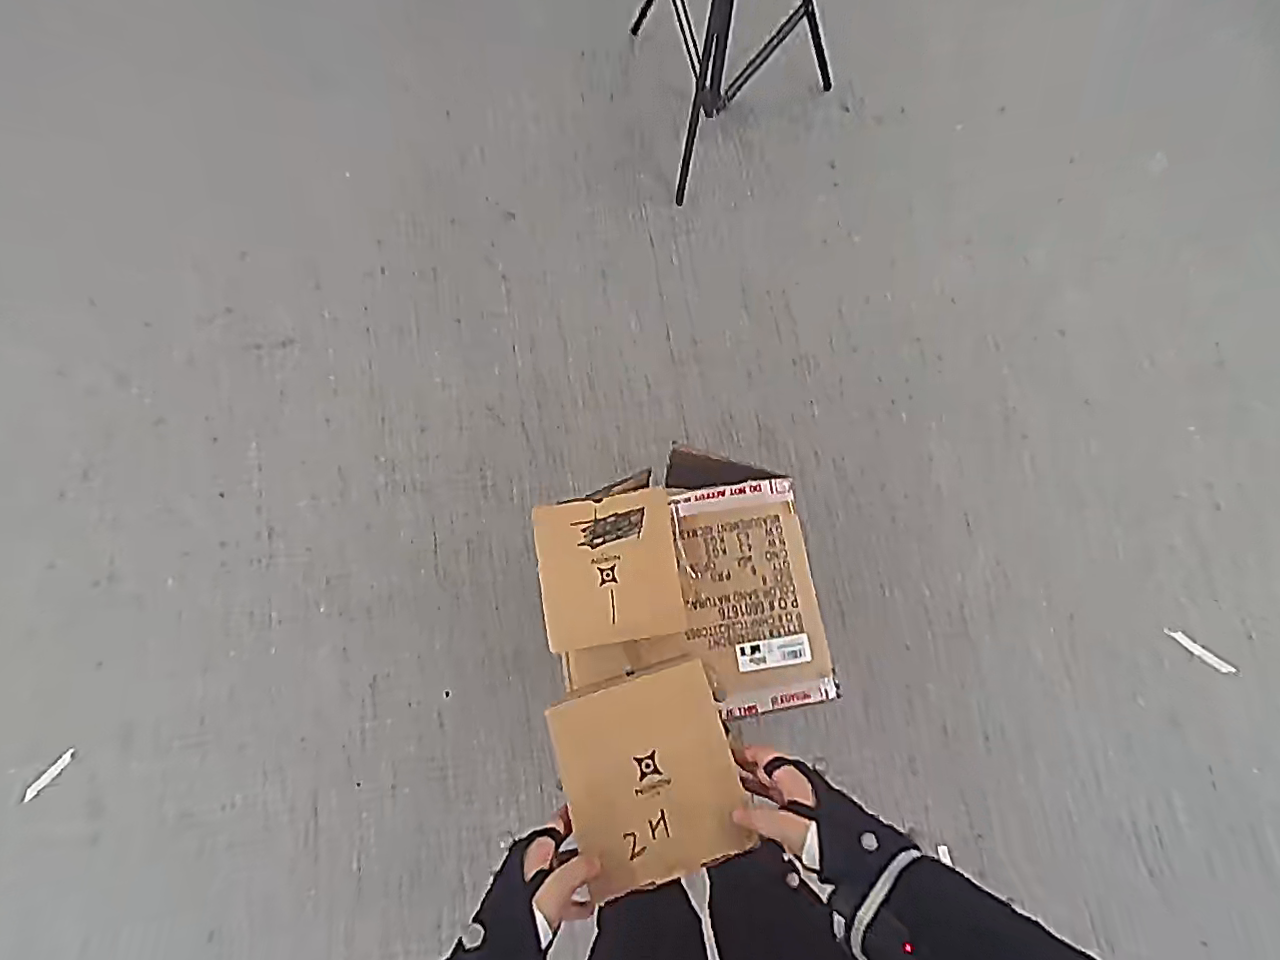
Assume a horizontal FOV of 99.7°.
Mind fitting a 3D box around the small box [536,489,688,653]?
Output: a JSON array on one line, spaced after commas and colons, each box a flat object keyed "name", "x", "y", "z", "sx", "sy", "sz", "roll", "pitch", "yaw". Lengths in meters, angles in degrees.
[{"name": "small box", "x": -0.034, "y": 0.120, "z": 0.721, "sx": 0.168, "sy": 0.176, "sz": 0.179, "roll": -9, "pitch": 81, "yaw": 0}]

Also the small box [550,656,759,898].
[{"name": "small box", "x": 0.010, "y": 0.306, "z": 0.600, "sx": 0.168, "sy": 0.176, "sz": 0.179, "roll": -17, "pitch": 75, "yaw": -4}]
